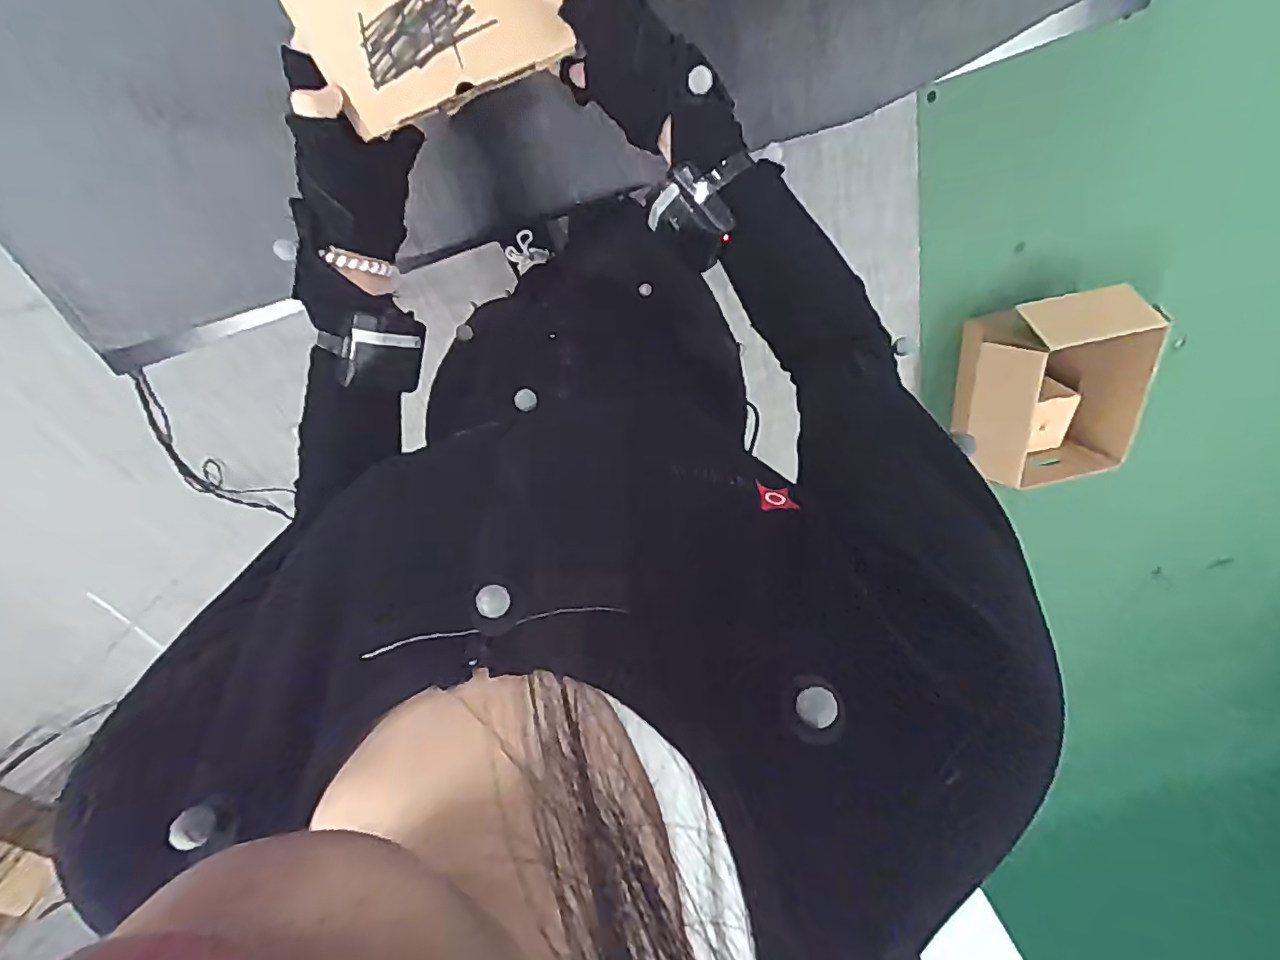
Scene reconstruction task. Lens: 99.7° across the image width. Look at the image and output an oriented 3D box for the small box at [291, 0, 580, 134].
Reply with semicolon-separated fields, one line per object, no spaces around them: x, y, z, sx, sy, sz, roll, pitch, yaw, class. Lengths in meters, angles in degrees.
-0.146;-0.375;0.371;0.168;0.176;0.179;-18;129;7;small box
